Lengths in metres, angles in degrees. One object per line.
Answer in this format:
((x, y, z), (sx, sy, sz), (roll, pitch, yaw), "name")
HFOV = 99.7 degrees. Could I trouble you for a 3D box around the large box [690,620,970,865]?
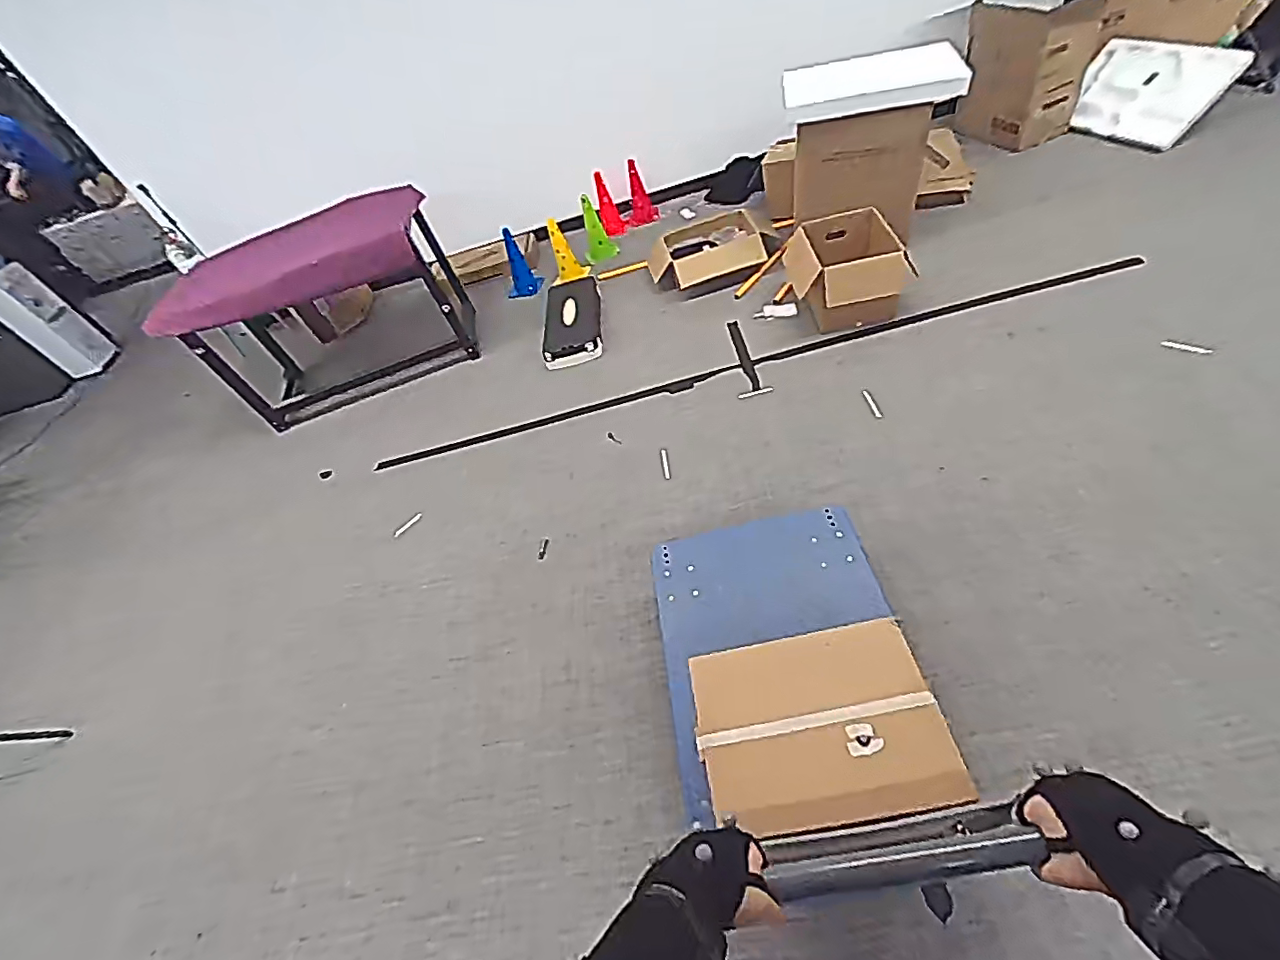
((0.339, 0.525, 1.066), (0.408, 0.320, 0.320), (-13, 48, 5), "large box")
